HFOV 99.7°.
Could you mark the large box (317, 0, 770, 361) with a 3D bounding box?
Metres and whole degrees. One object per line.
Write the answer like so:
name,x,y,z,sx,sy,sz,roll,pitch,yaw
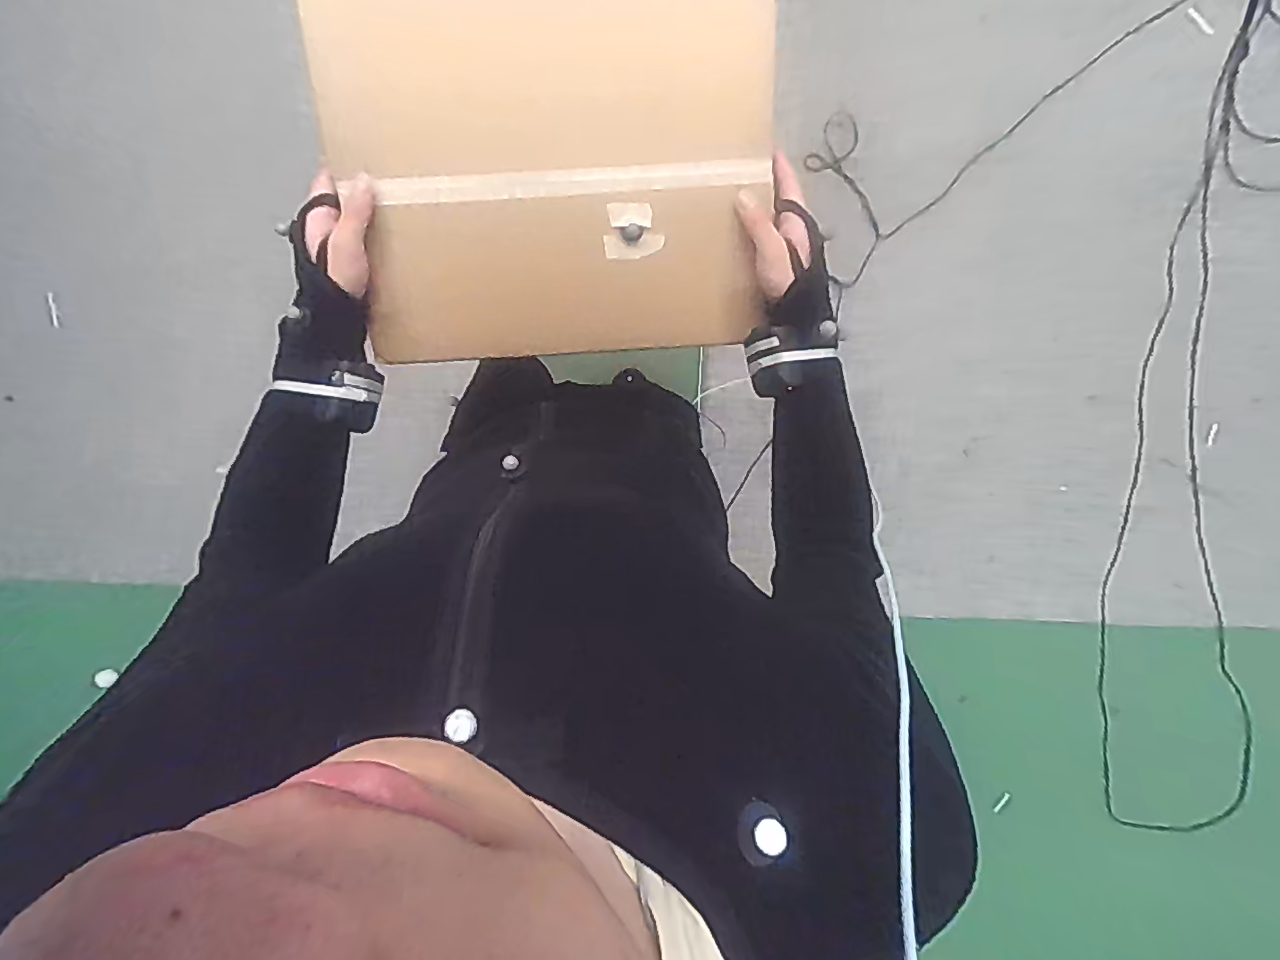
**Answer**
large box,-0.083,-0.330,0.658,0.408,0.320,0.320,-4,109,-3
